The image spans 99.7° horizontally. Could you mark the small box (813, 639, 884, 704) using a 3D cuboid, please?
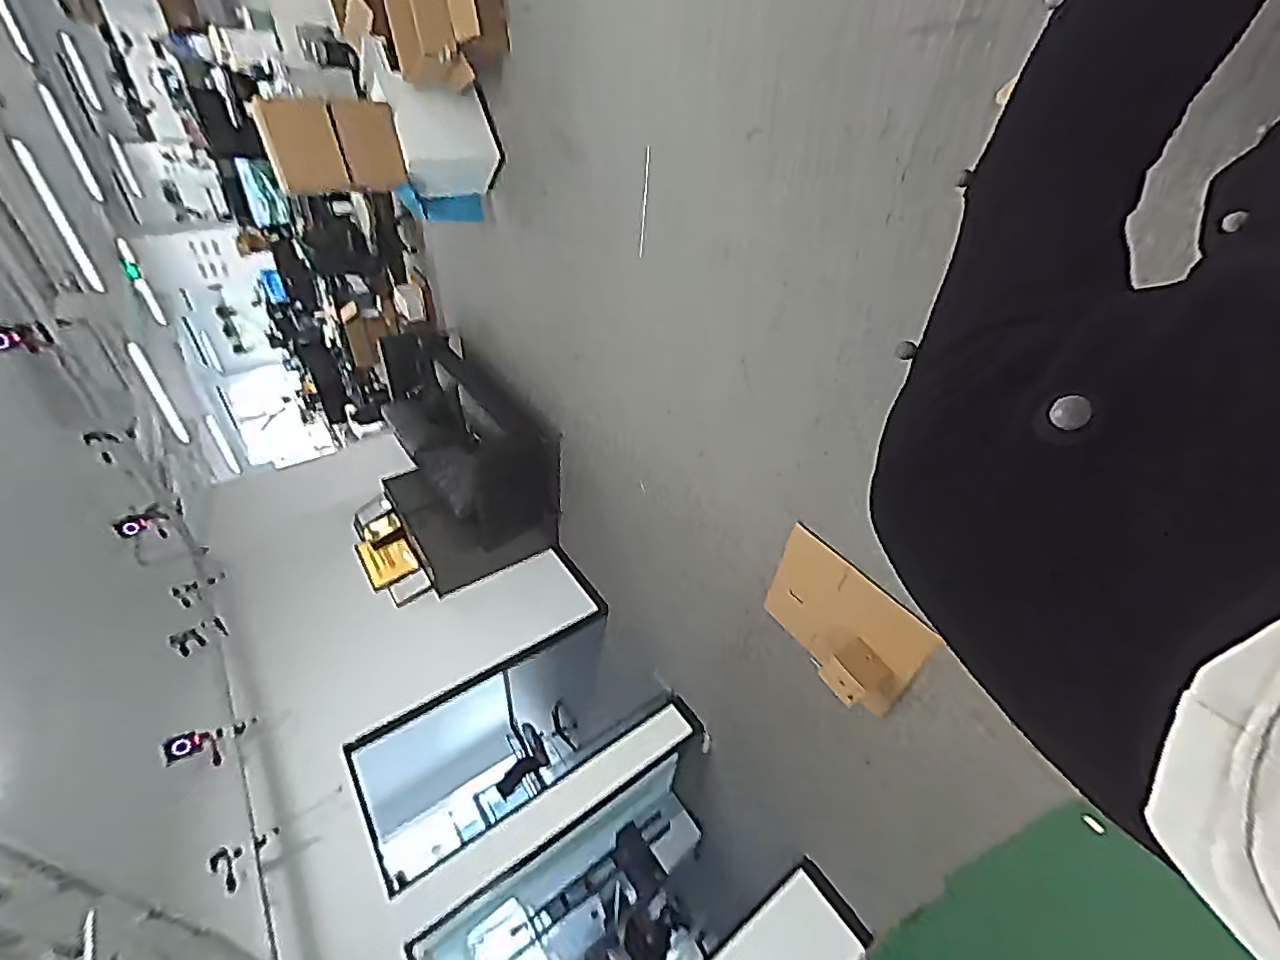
[{"bbox_3d":[0.858,0.781,2.227,0.179,0.176,0.168,50,145,28],"label":"small box"}]
